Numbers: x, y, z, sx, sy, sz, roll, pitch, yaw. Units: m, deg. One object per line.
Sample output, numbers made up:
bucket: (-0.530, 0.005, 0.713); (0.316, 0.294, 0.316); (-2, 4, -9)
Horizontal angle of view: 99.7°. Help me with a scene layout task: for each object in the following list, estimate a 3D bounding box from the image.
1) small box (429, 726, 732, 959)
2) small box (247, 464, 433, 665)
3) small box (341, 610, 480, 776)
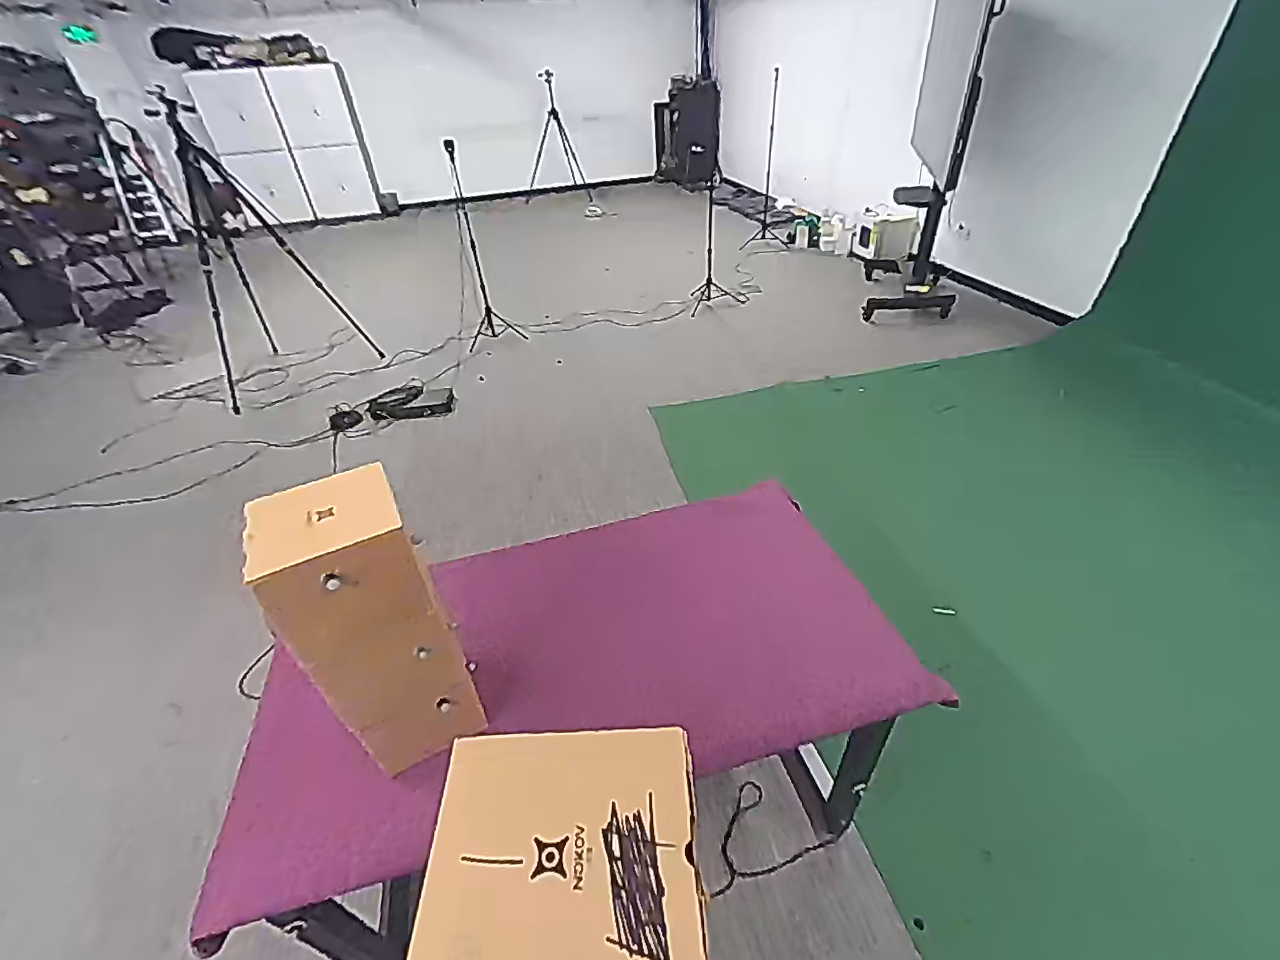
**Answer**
small box: (-0.037, 0.303, 0.400); (0.179, 0.176, 0.168); (-1, 40, -2)
small box: (-0.395, 0.110, 0.730); (0.179, 0.176, 0.168); (-21, 42, -22)
small box: (-0.388, 0.365, 0.934); (0.179, 0.176, 0.168); (-21, 41, -21)
